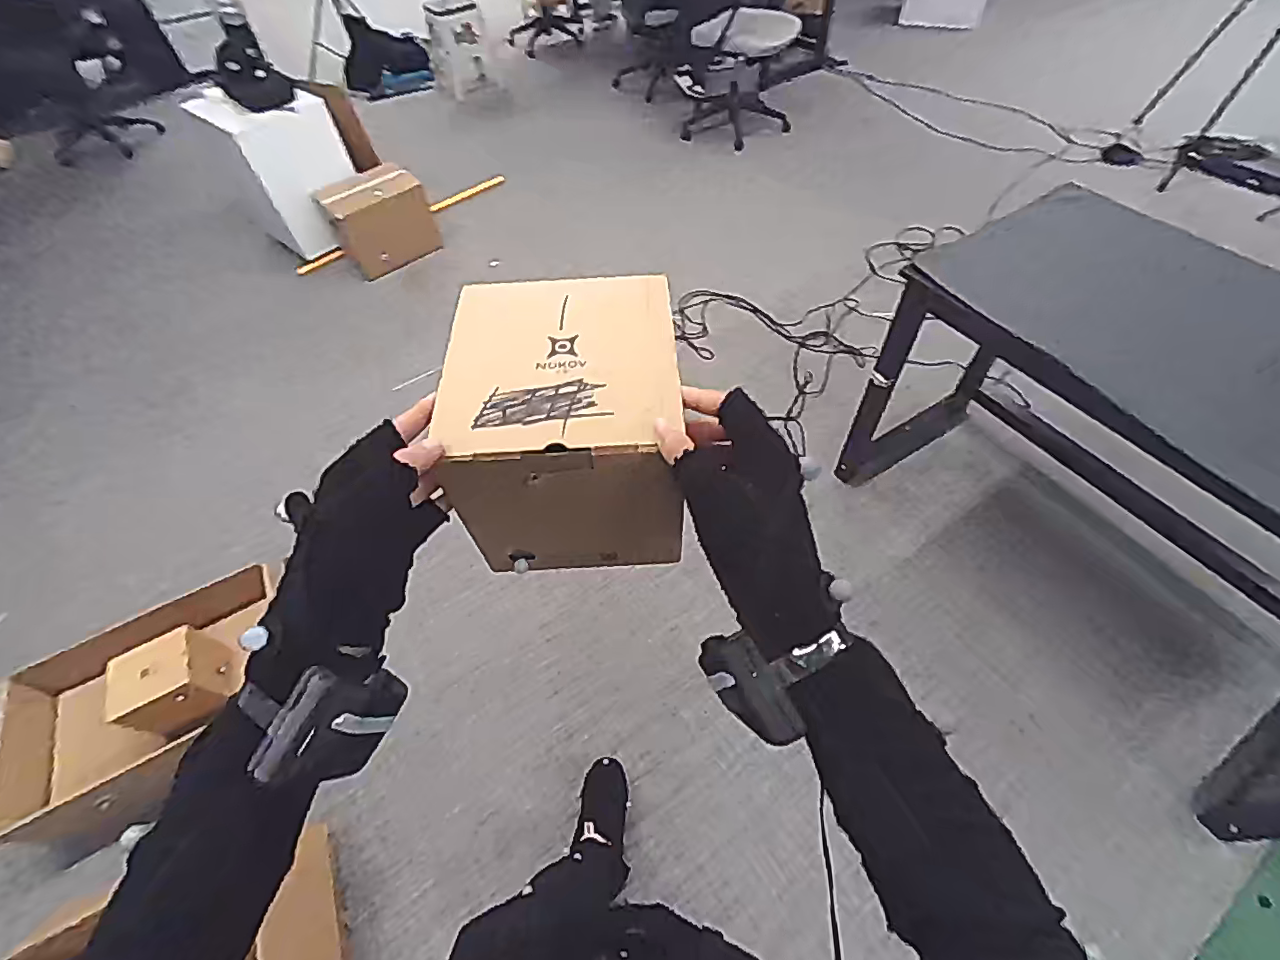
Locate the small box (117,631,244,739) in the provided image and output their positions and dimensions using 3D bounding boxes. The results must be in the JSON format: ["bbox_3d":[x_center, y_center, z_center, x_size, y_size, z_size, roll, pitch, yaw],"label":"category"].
[{"bbox_3d":[-1.136,0.515,1.346,0.179,0.176,0.168,-28,56,-14],"label":"small box"}]

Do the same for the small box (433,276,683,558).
[{"bbox_3d":[-0.050,-0.043,0.454,0.168,0.176,0.179,-3,54,1],"label":"small box"}]
